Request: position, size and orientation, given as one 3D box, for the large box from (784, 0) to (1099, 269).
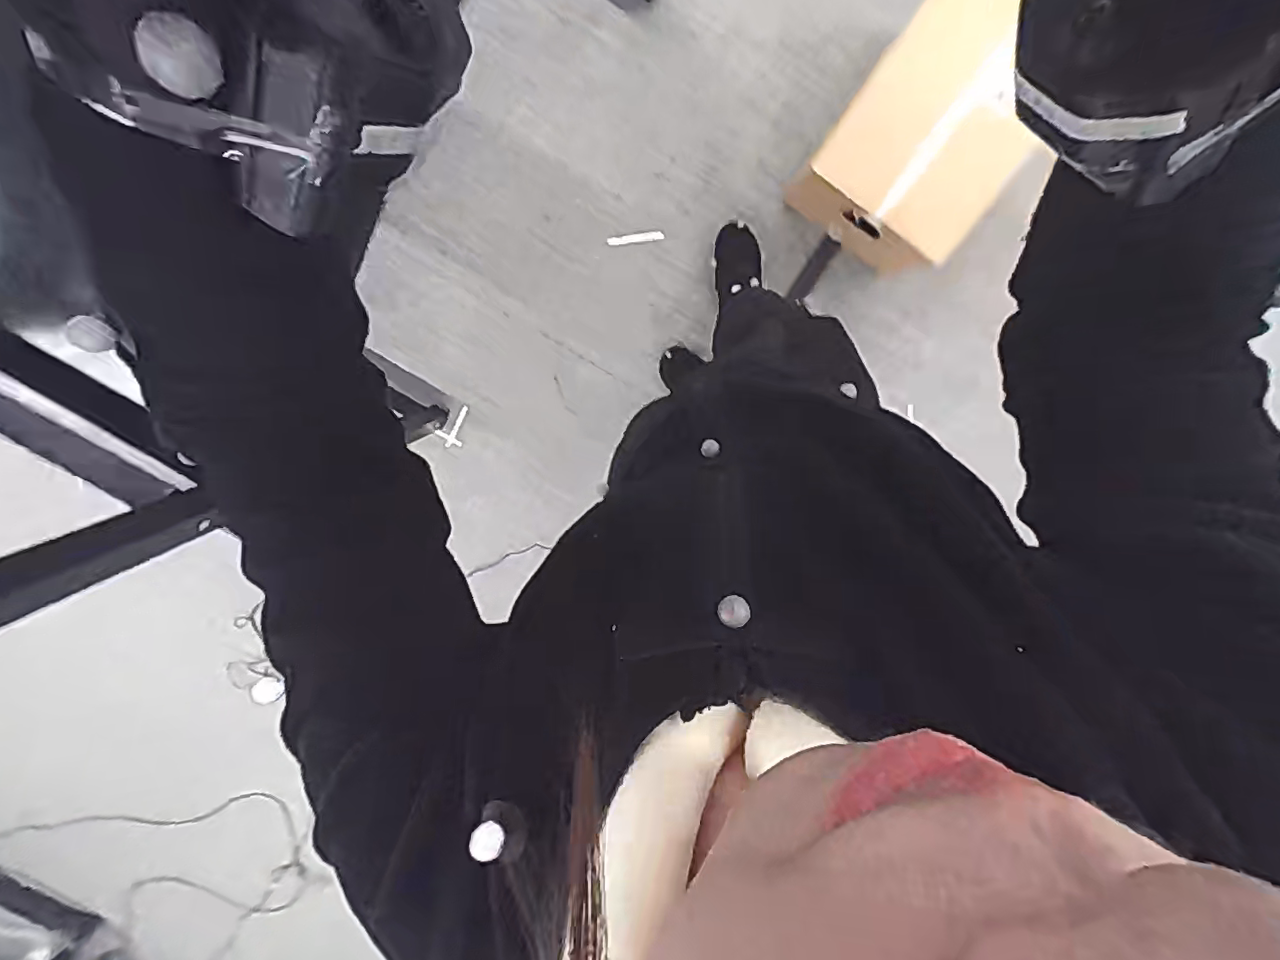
[{"bbox_3d":[0.552,-0.697,1.089,0.320,0.320,0.408,33,107,-7],"label":"large box"}]
